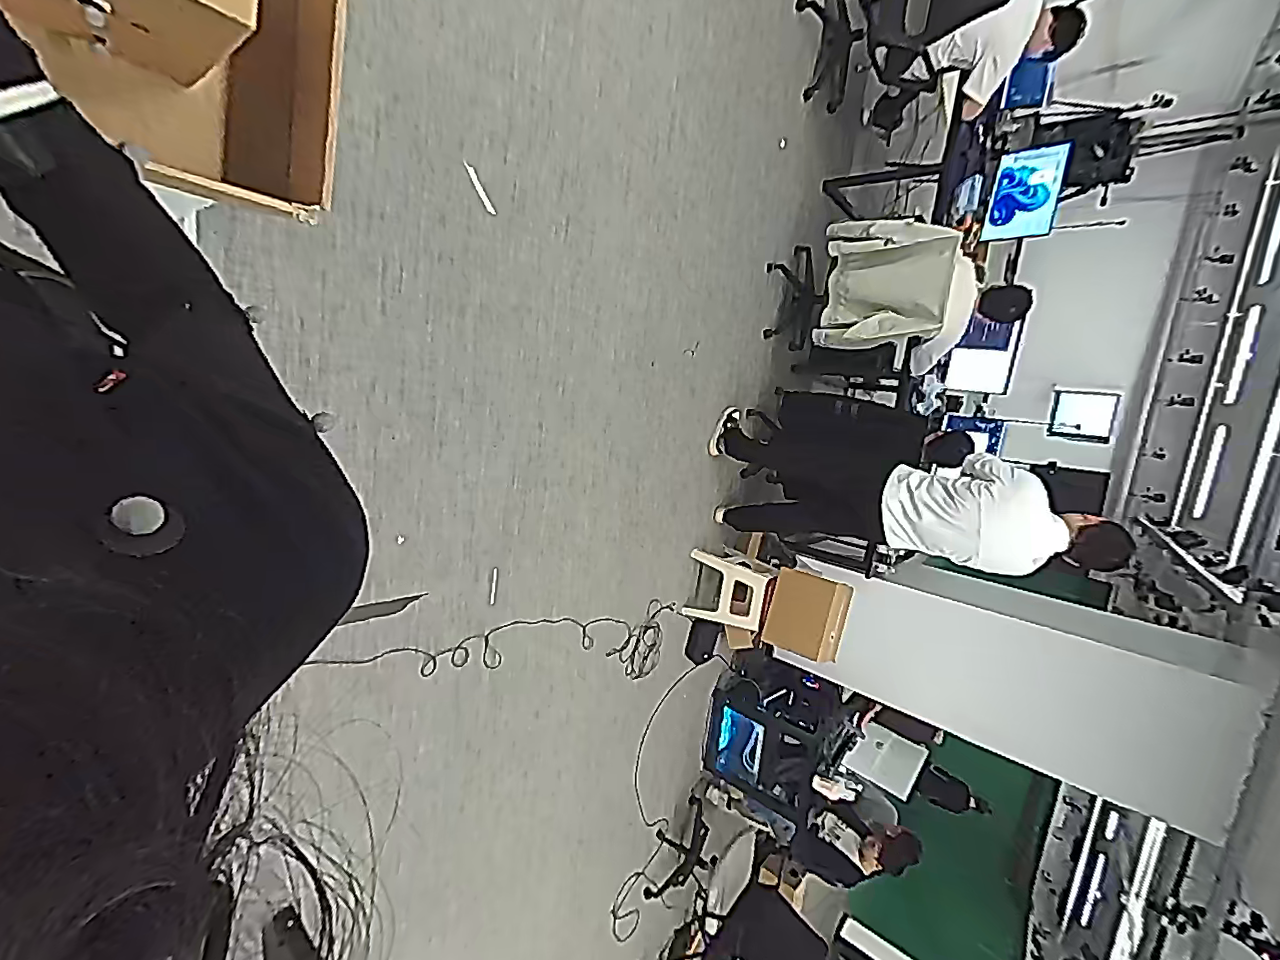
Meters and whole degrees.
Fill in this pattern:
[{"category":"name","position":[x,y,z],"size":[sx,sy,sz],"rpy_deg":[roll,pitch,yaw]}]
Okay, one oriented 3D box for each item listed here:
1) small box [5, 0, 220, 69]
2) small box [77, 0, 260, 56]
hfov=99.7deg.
[{"category":"small box","position":[-0.540,-0.548,0.537],"size":[0.179,0.176,0.168],"rpy_deg":[-2,107,-50]},{"category":"small box","position":[-0.422,-0.495,0.437],"size":[0.168,0.176,0.179],"rpy_deg":[-2,109,-48]}]
